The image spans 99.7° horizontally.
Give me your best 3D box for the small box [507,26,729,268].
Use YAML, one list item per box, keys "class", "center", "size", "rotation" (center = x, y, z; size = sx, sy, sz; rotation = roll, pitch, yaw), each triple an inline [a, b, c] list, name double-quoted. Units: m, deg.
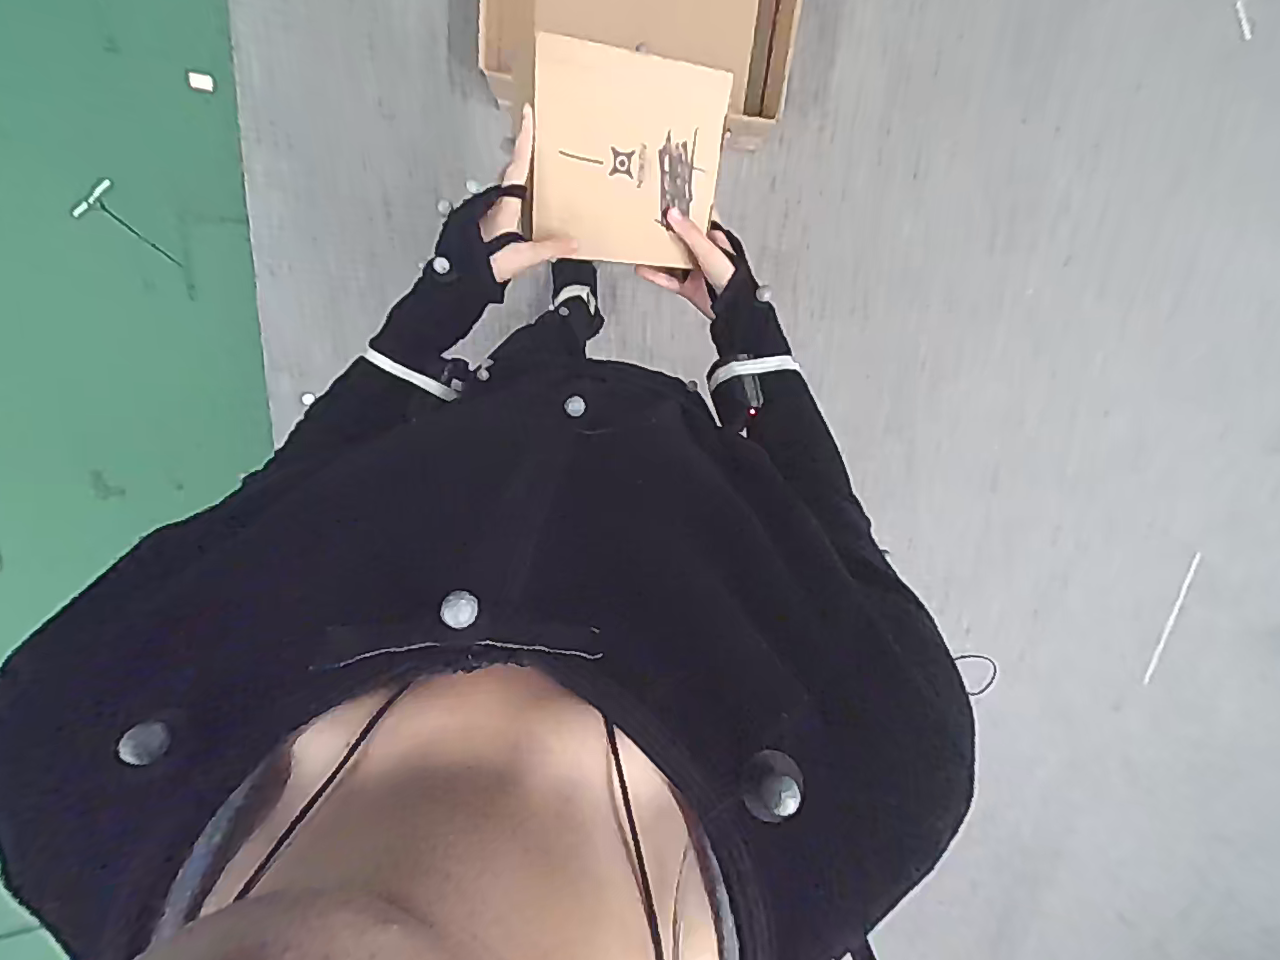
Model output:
- class: "small box"
  center: [-0.036, -0.323, 0.549]
  size: [0.179, 0.176, 0.168]
  rotation: [-1, 119, -18]
